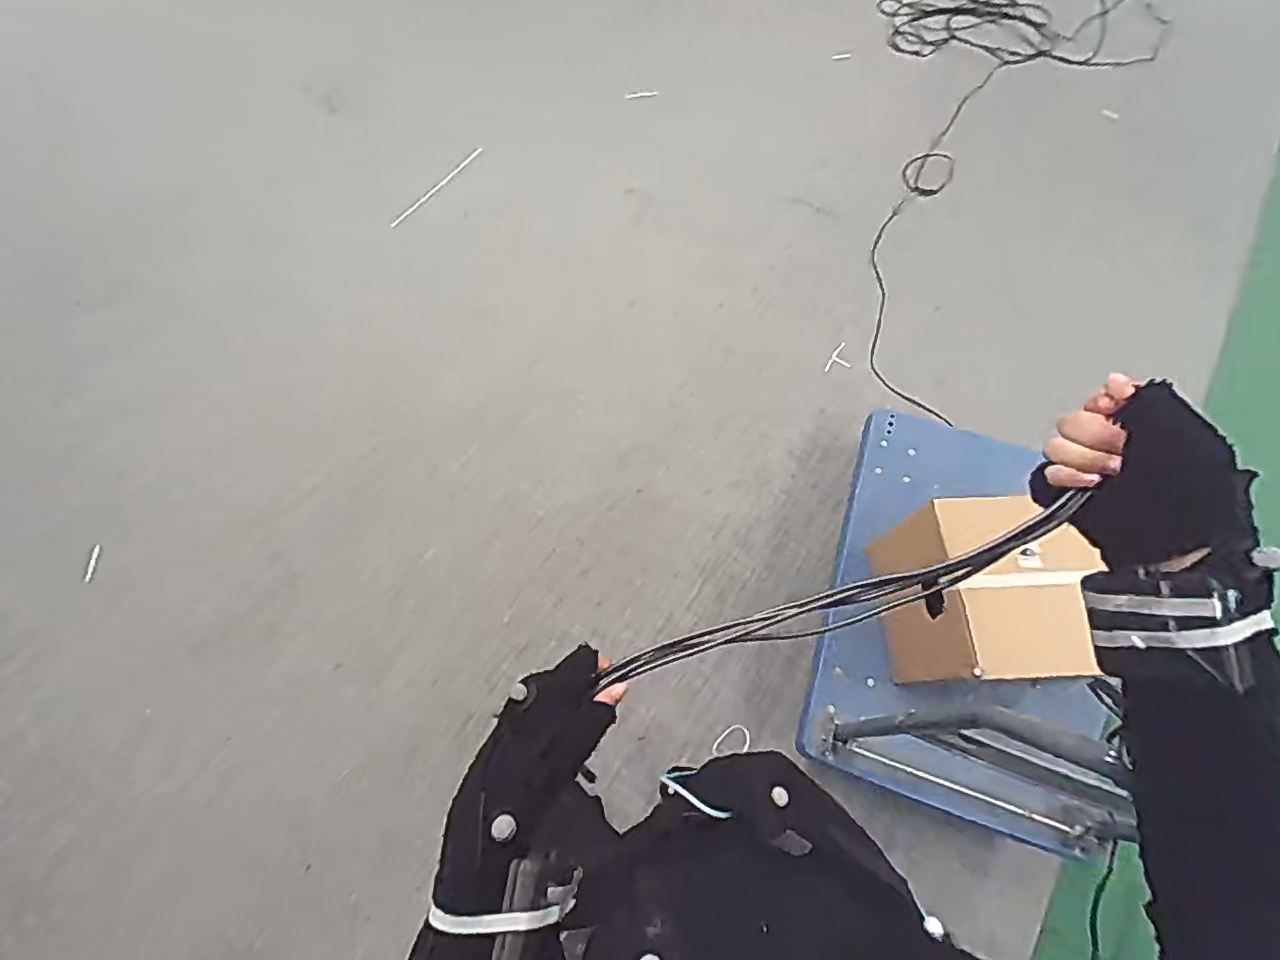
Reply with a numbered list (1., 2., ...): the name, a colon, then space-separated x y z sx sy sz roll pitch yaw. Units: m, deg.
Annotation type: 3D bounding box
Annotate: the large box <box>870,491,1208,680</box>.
1. large box: 0.740 0.226 1.082 0.408 0.320 0.320 -2 67 0
